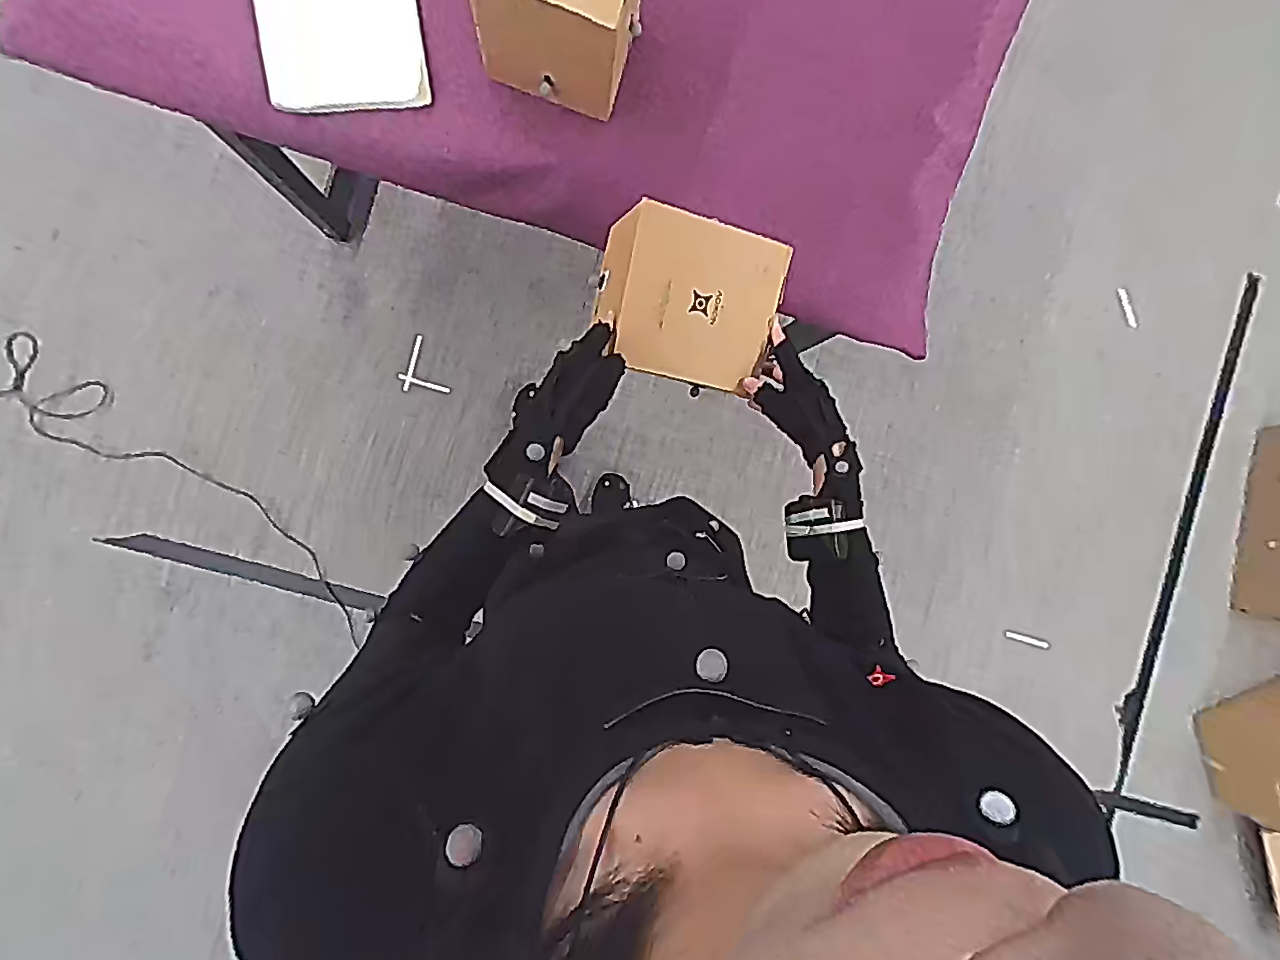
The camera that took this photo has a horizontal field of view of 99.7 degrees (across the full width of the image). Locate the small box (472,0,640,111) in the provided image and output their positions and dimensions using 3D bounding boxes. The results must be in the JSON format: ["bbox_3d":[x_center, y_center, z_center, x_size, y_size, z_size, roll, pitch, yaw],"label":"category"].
[{"bbox_3d":[-0.094,-0.604,0.668,0.179,0.176,0.168,16,89,-8],"label":"small box"}]

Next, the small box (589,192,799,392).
[{"bbox_3d":[0.050,-0.208,0.636,0.179,0.176,0.168,10,100,-17],"label":"small box"}]
